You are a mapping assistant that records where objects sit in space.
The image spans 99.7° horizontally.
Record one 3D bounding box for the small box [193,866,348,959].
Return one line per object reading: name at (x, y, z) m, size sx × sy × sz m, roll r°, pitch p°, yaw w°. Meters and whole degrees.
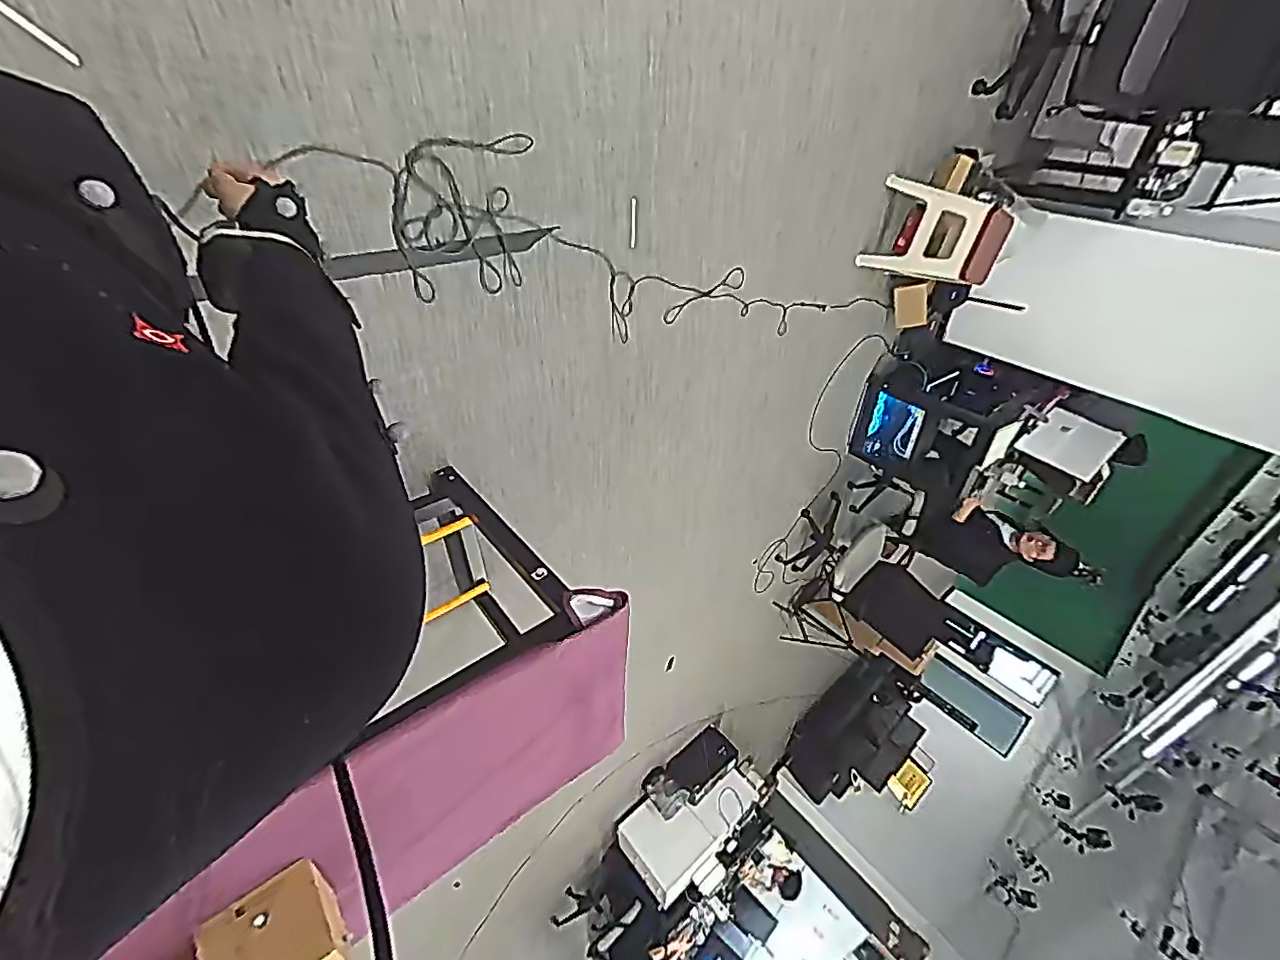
small box at (-0.606, 0.799, 0.904) m, size 0.168 × 0.176 × 0.179 m, roll -25°, pitch 135°, yaw -35°
